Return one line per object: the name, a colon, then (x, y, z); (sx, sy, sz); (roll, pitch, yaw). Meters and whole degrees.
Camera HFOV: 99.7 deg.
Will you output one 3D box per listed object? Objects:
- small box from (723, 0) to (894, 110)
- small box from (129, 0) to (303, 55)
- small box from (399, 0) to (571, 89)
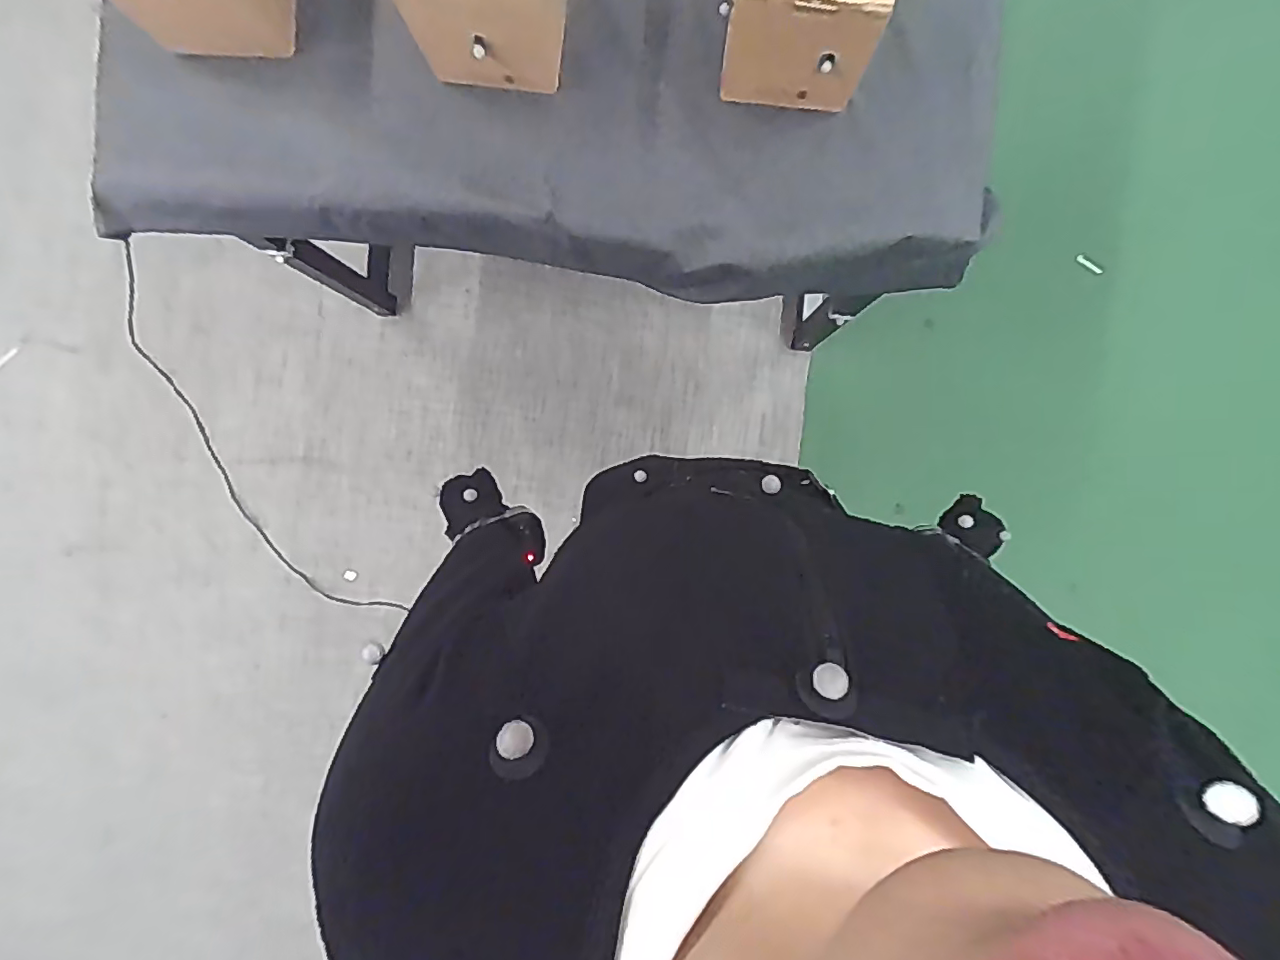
small box: (0.197, -0.585, 0.646); (0.168, 0.176, 0.179); (7, 90, 1)
small box: (-0.548, -0.664, 0.660); (0.179, 0.176, 0.168); (3, 91, 0)
small box: (-0.180, -0.618, 0.654); (0.168, 0.176, 0.179); (7, 92, 1)
